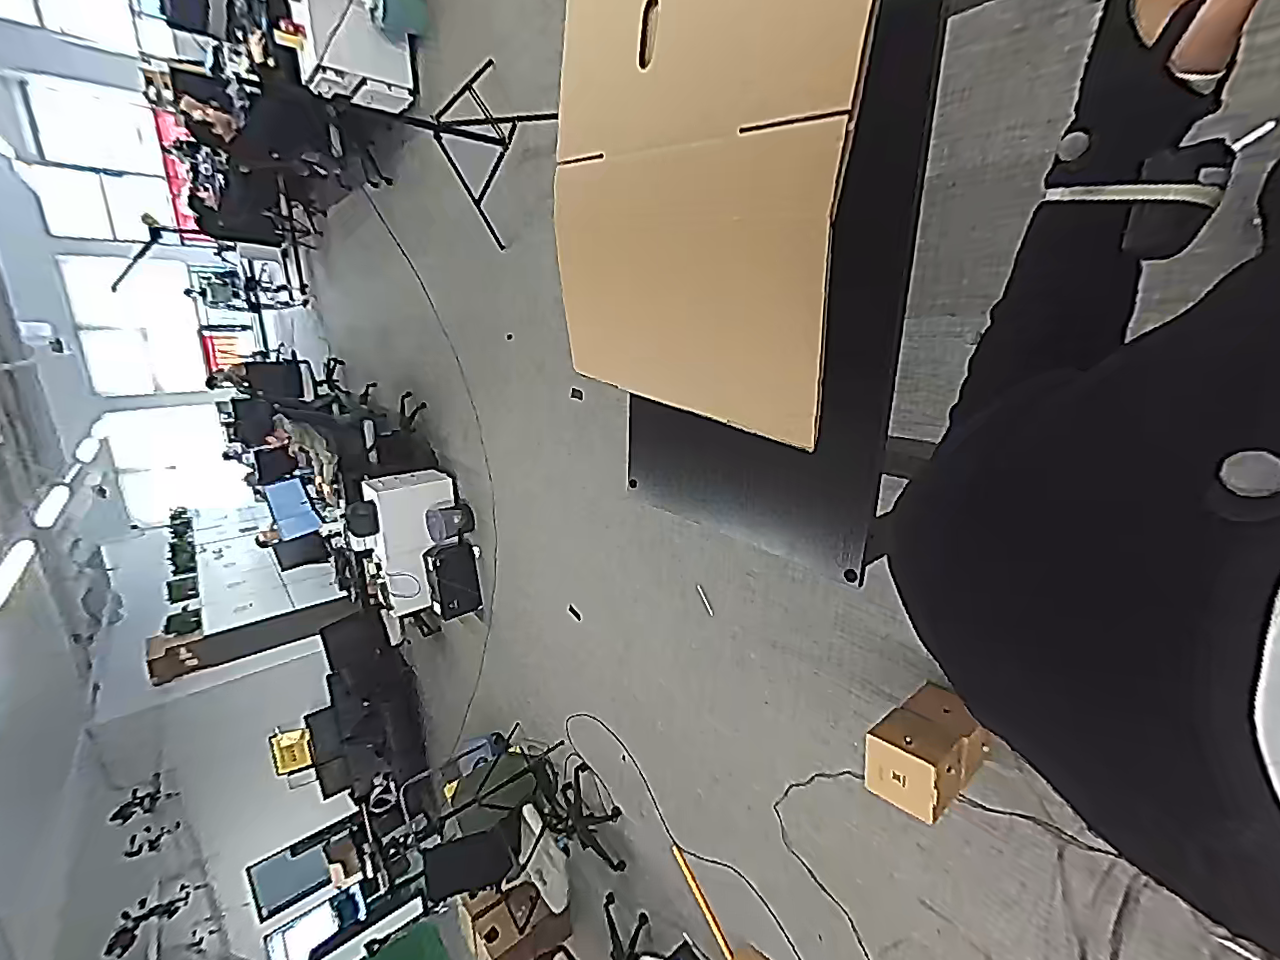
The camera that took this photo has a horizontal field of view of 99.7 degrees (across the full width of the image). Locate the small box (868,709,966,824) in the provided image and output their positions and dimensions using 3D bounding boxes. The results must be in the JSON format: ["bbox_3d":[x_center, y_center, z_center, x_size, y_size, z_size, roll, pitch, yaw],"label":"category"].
[{"bbox_3d":[0.715,0.724,1.392,0.179,0.176,0.168,11,108,51],"label":"small box"}]

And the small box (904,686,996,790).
[{"bbox_3d":[0.844,0.696,1.487,0.179,0.176,0.168,14,111,48],"label":"small box"}]
